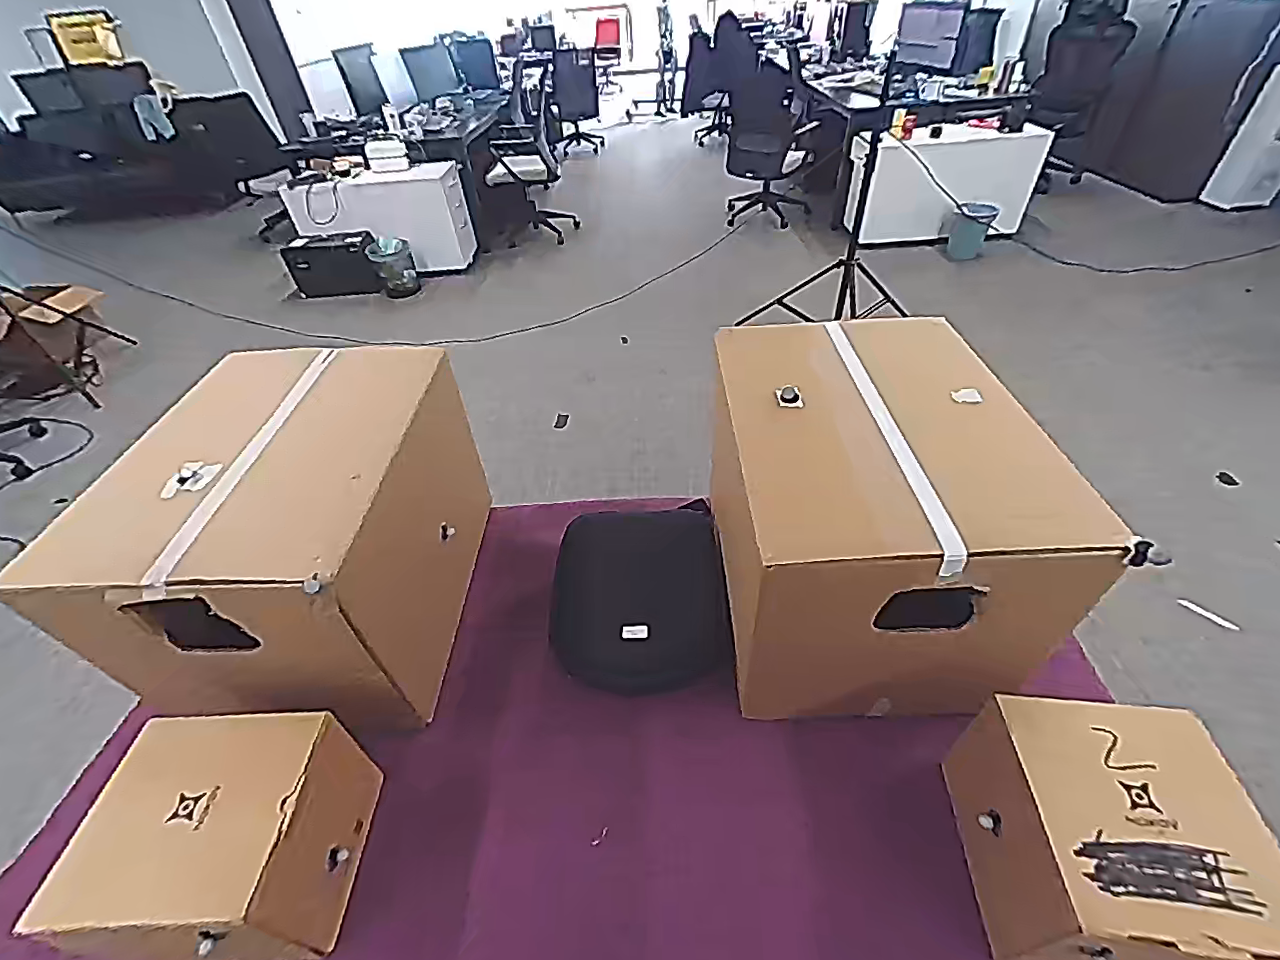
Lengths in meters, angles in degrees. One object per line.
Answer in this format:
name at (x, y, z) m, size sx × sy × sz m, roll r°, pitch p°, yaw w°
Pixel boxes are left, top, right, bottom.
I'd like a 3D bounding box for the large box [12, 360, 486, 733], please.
large box at (-0.422, 0.079, 0.732) m, size 0.320 × 0.320 × 0.408 m, roll -2°, pitch 45°, yaw 1°
